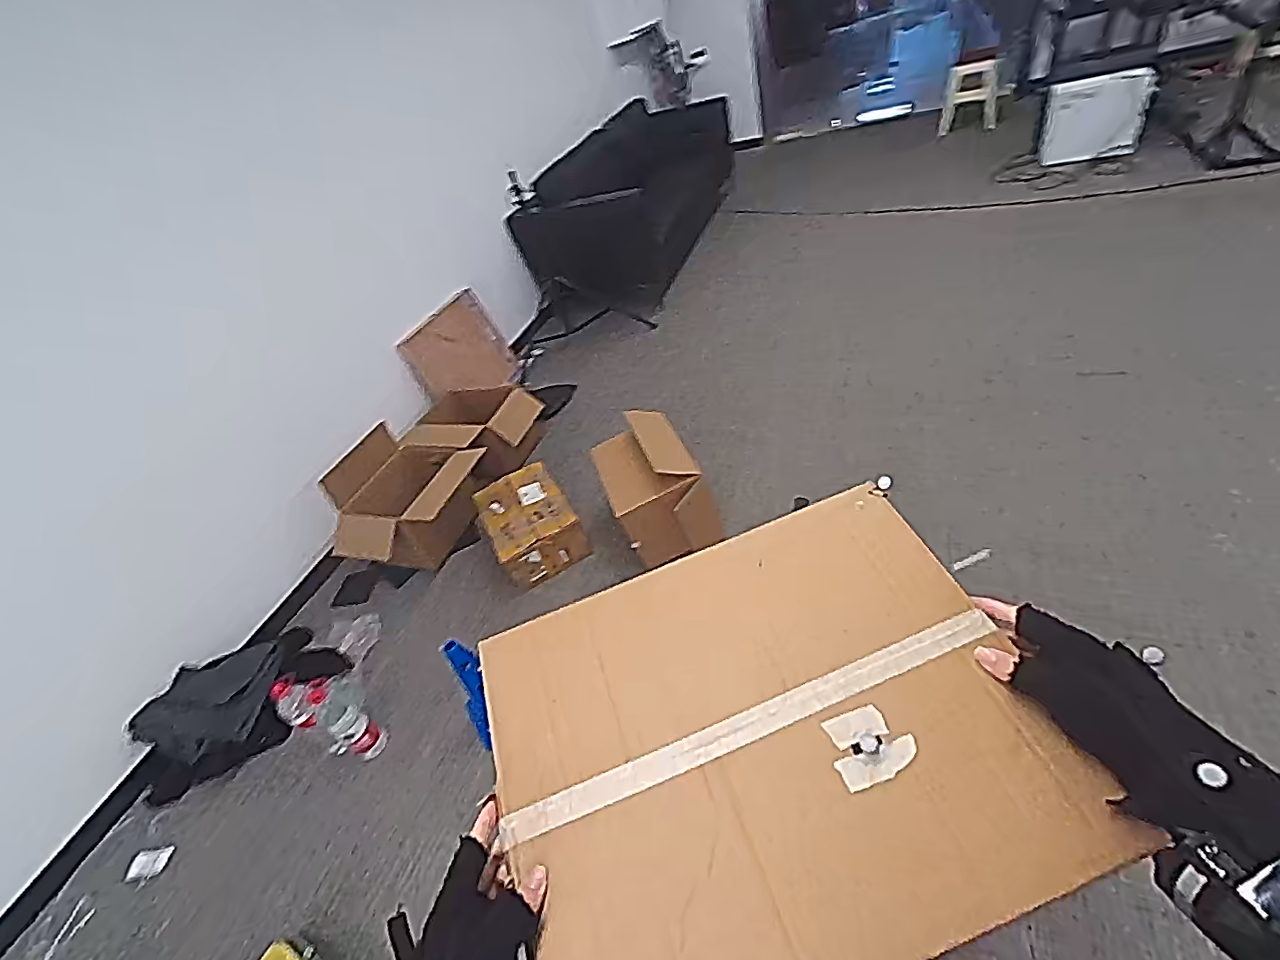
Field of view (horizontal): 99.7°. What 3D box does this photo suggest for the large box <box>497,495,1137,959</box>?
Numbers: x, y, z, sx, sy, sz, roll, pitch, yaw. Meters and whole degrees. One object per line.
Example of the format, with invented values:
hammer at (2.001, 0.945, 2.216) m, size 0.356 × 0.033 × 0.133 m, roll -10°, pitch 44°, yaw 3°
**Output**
large box at (0.122, 0.285, 0.545) m, size 0.408 × 0.320 × 0.320 m, roll -22°, pitch 51°, yaw -3°
